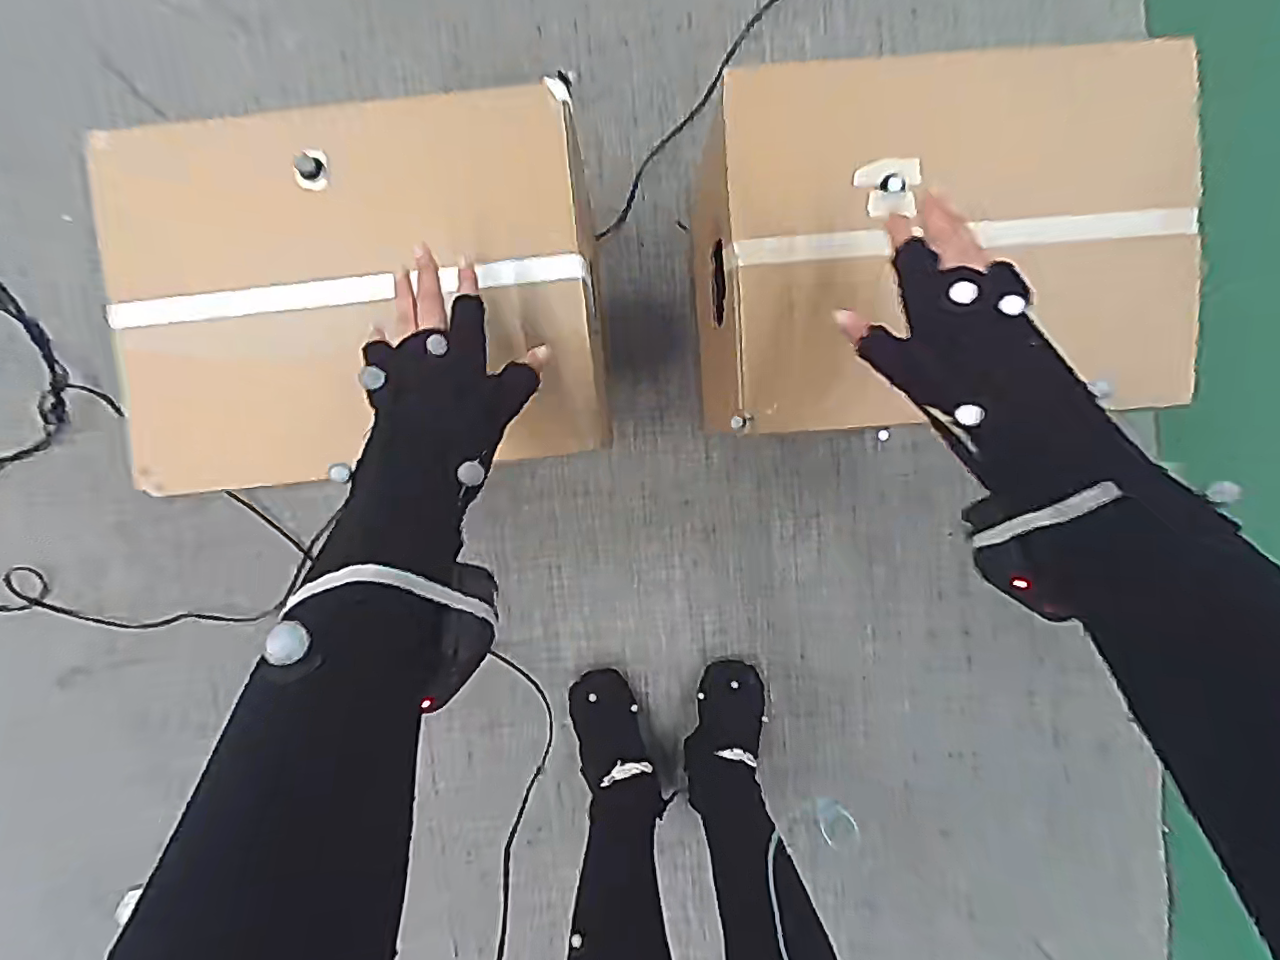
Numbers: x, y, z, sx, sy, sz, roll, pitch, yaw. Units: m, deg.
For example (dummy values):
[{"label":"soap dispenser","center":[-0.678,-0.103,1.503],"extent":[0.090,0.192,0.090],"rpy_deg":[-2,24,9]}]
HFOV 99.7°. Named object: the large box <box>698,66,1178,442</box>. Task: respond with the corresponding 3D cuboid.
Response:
[{"label":"large box","center":[0.289,-0.216,0.642],"extent":[0.408,0.320,0.320],"rpy_deg":[-3,94,0]}]
